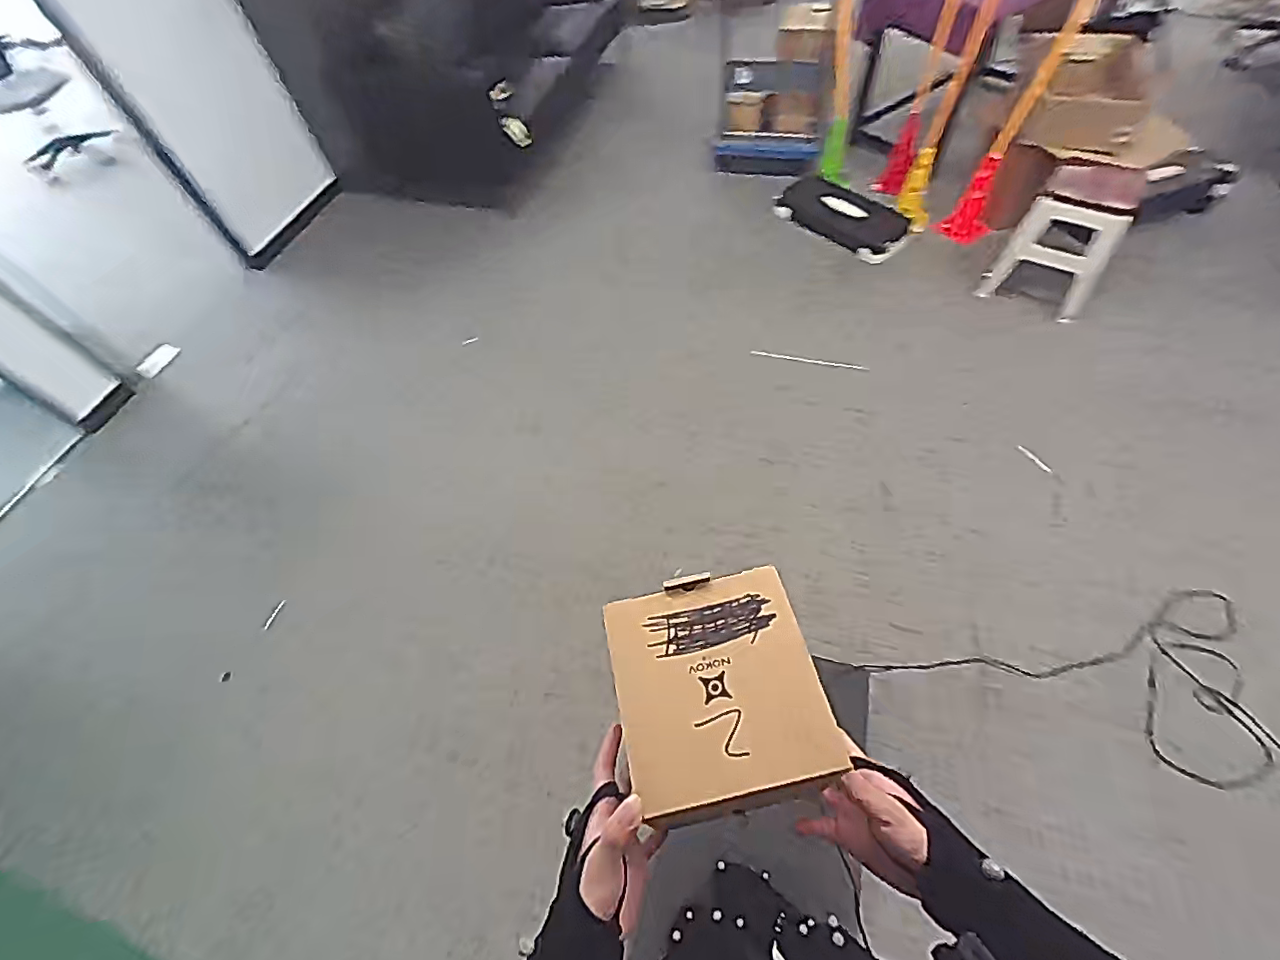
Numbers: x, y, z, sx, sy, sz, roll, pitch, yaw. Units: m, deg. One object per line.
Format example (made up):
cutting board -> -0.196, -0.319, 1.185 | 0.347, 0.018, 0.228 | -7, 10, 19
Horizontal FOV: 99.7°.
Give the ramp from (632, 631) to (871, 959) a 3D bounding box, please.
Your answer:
ramp -> 0.313, 0.882, 1.366 | 0.509, 0.206, 0.991 | 9, 59, 14
